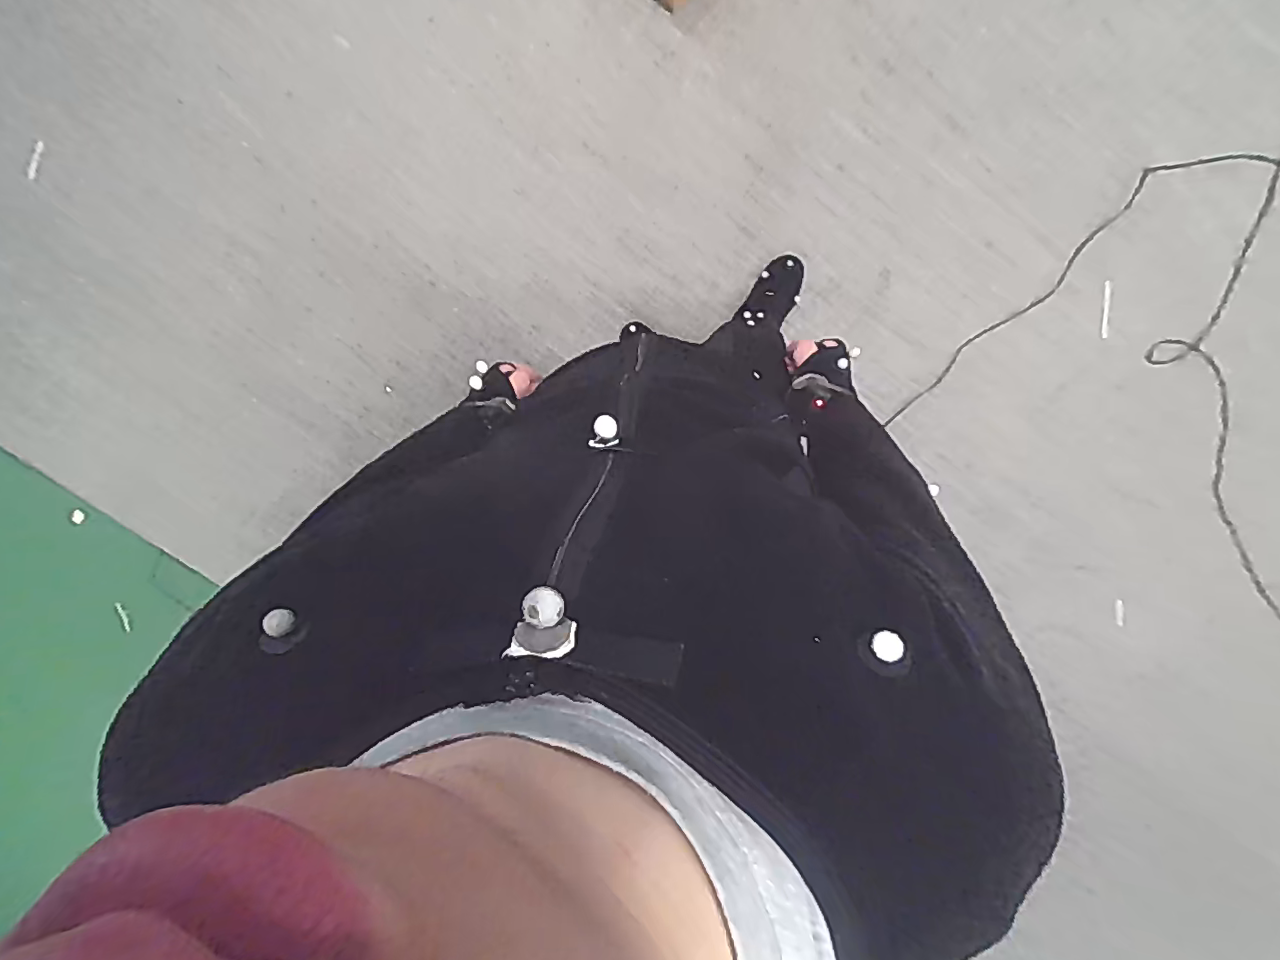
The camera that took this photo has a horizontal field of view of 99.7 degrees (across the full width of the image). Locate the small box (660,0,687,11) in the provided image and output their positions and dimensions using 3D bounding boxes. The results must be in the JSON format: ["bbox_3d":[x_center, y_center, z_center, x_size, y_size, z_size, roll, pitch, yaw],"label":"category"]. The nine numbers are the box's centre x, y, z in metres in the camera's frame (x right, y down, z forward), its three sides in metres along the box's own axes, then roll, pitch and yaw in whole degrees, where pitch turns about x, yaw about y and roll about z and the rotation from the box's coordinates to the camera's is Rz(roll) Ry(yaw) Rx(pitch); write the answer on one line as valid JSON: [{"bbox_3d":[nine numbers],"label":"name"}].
[{"bbox_3d":[0.070,-1.156,1.135,0.168,0.176,0.179,-40,102,16],"label":"small box"}]
